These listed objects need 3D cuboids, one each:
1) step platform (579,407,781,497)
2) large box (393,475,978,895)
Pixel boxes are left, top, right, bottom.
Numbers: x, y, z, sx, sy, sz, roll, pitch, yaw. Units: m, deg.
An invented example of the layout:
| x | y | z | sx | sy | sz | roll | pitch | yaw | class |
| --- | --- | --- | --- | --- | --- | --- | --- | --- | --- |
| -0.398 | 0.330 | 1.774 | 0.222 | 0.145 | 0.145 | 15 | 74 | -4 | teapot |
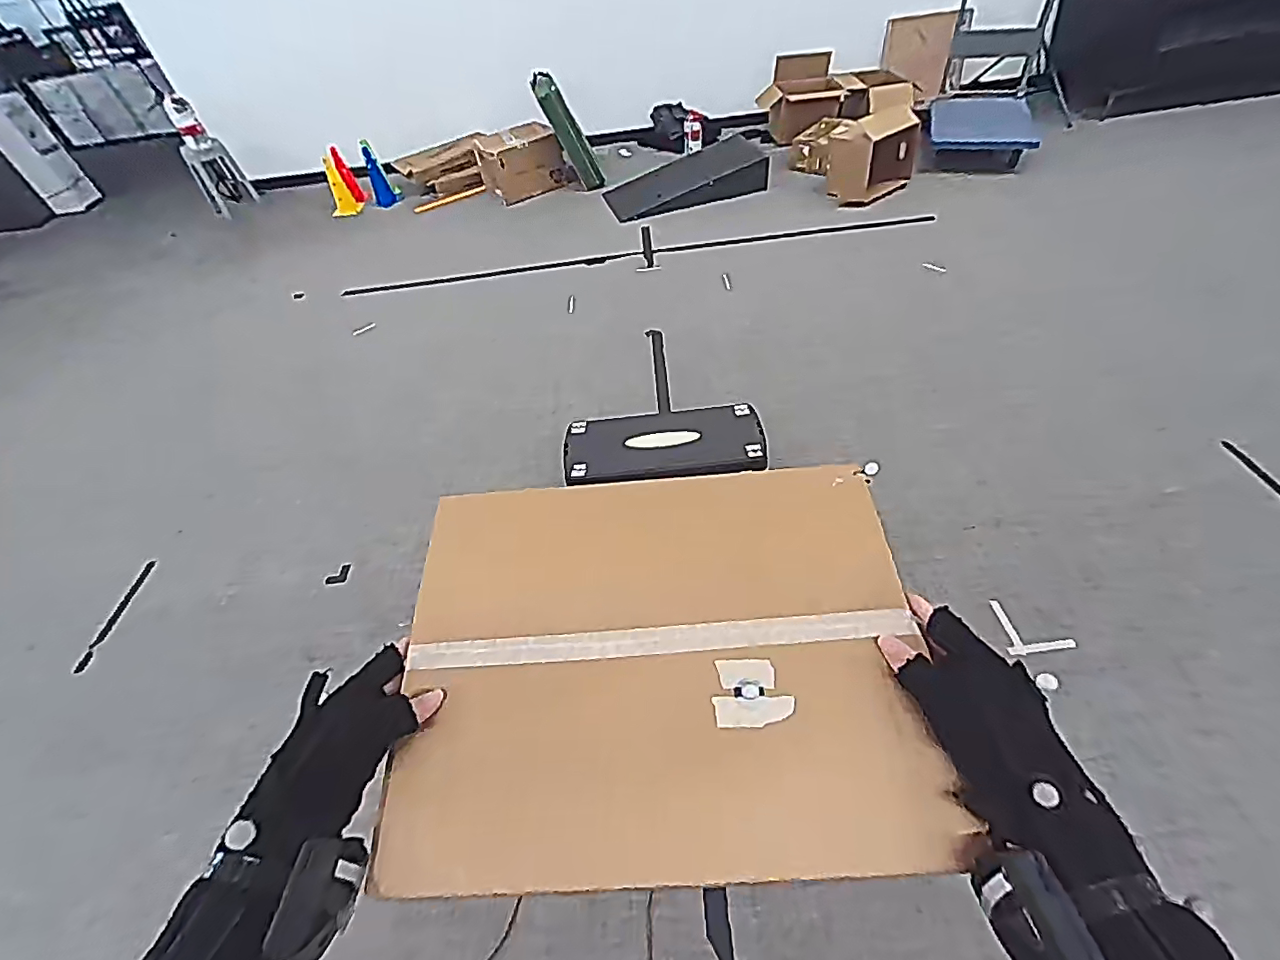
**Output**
| x | y | z | sx | sy | sz | roll | pitch | yaw | class |
| --- | --- | --- | --- | --- | --- | --- | --- | --- | --- |
| 0.132 | -0.066 | 1.863 | 0.684 | 0.204 | 0.286 | -6 | 48 | 1 | step platform |
| 0.030 | 0.221 | 0.566 | 0.408 | 0.320 | 0.320 | -4 | 56 | 2 | large box |
